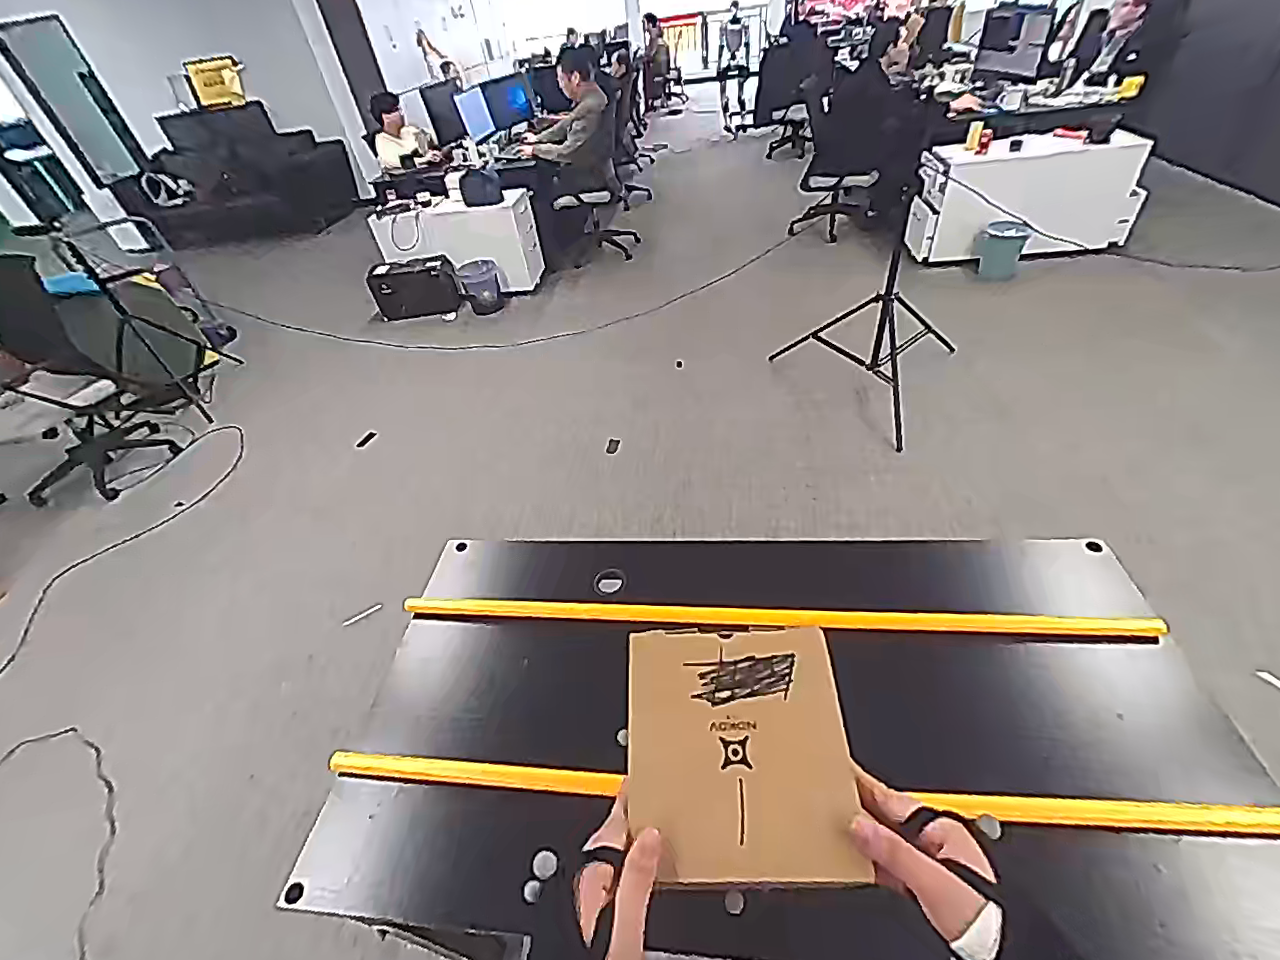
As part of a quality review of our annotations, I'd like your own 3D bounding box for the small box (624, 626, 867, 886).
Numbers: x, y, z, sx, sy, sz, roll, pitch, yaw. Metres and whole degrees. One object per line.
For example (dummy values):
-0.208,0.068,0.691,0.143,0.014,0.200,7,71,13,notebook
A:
0.078,0.245,0.477,0.168,0.176,0.179,-3,53,4,small box
